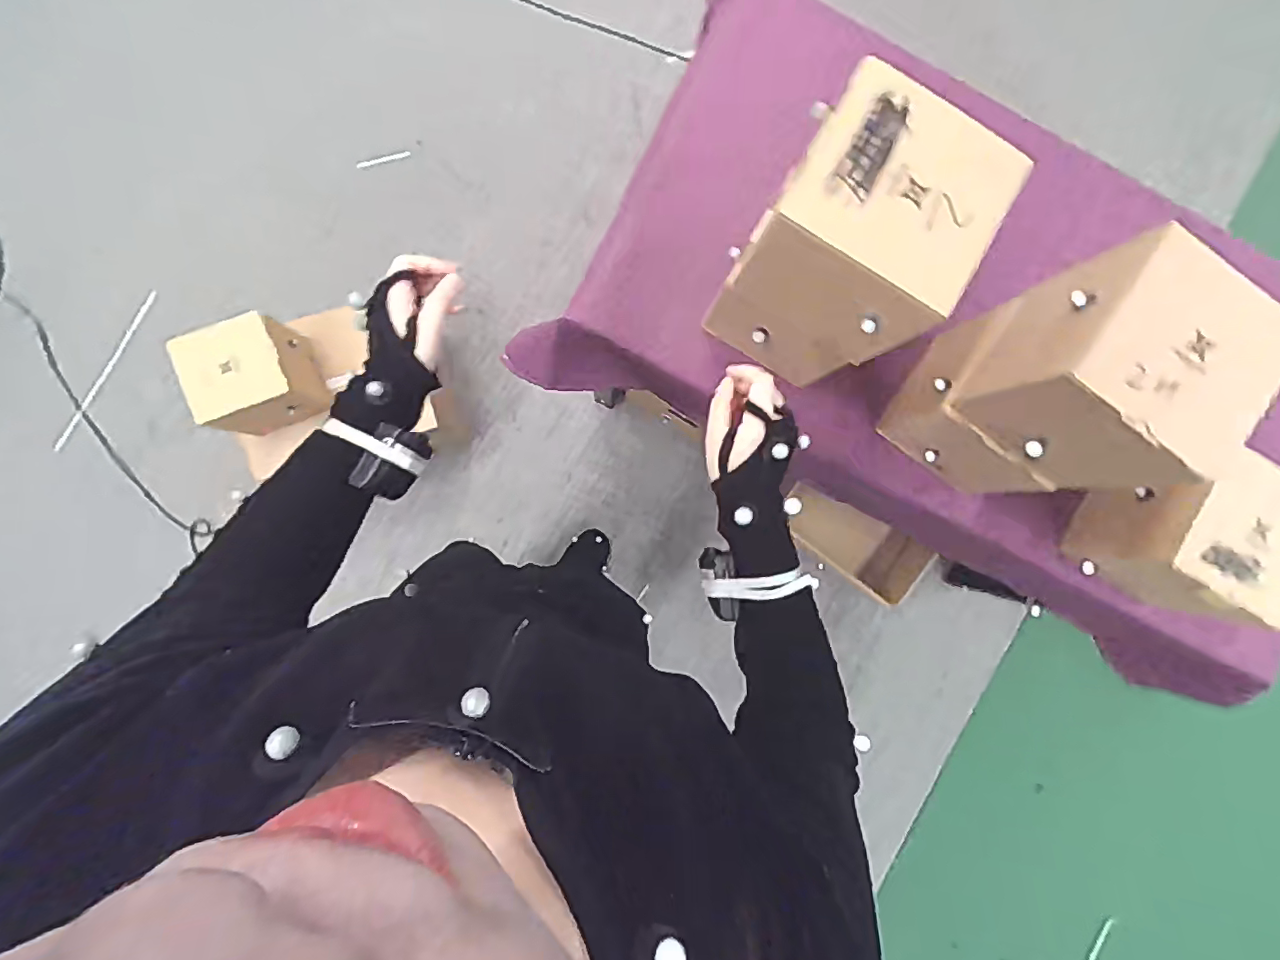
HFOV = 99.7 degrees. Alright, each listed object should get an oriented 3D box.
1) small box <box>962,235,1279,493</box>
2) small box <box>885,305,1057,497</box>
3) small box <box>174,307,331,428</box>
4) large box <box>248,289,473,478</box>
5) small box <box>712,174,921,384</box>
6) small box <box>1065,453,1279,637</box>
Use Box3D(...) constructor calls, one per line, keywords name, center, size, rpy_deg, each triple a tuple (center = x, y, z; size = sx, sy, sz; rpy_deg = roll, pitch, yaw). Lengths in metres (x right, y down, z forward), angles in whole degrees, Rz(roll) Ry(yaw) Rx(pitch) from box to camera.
Box3D(name="small box", center=(0.487, -0.104, 0.563), size=(0.168, 0.176, 0.179), rpy_deg=(38, 87, -2))
Box3D(name="small box", center=(0.471, -0.095, 0.727), size=(0.168, 0.176, 0.179), rpy_deg=(36, 88, -2))
Box3D(name="small box", center=(-0.744, -0.212, 1.065), size=(0.179, 0.176, 0.168), rpy_deg=(-21, 89, -4))
Box3D(name="large box", center=(-0.674, -0.211, 1.316), size=(0.408, 0.320, 0.320), rpy_deg=(-17, 91, -5))
Box3D(name="small box", center=(0.214, -0.245, 0.711), size=(0.179, 0.176, 0.168), rpy_deg=(32, 88, -2))
Box3D(name="small box", center=(0.740, 0.080, 0.738), size=(0.168, 0.176, 0.179), rpy_deg=(31, 86, -2))
